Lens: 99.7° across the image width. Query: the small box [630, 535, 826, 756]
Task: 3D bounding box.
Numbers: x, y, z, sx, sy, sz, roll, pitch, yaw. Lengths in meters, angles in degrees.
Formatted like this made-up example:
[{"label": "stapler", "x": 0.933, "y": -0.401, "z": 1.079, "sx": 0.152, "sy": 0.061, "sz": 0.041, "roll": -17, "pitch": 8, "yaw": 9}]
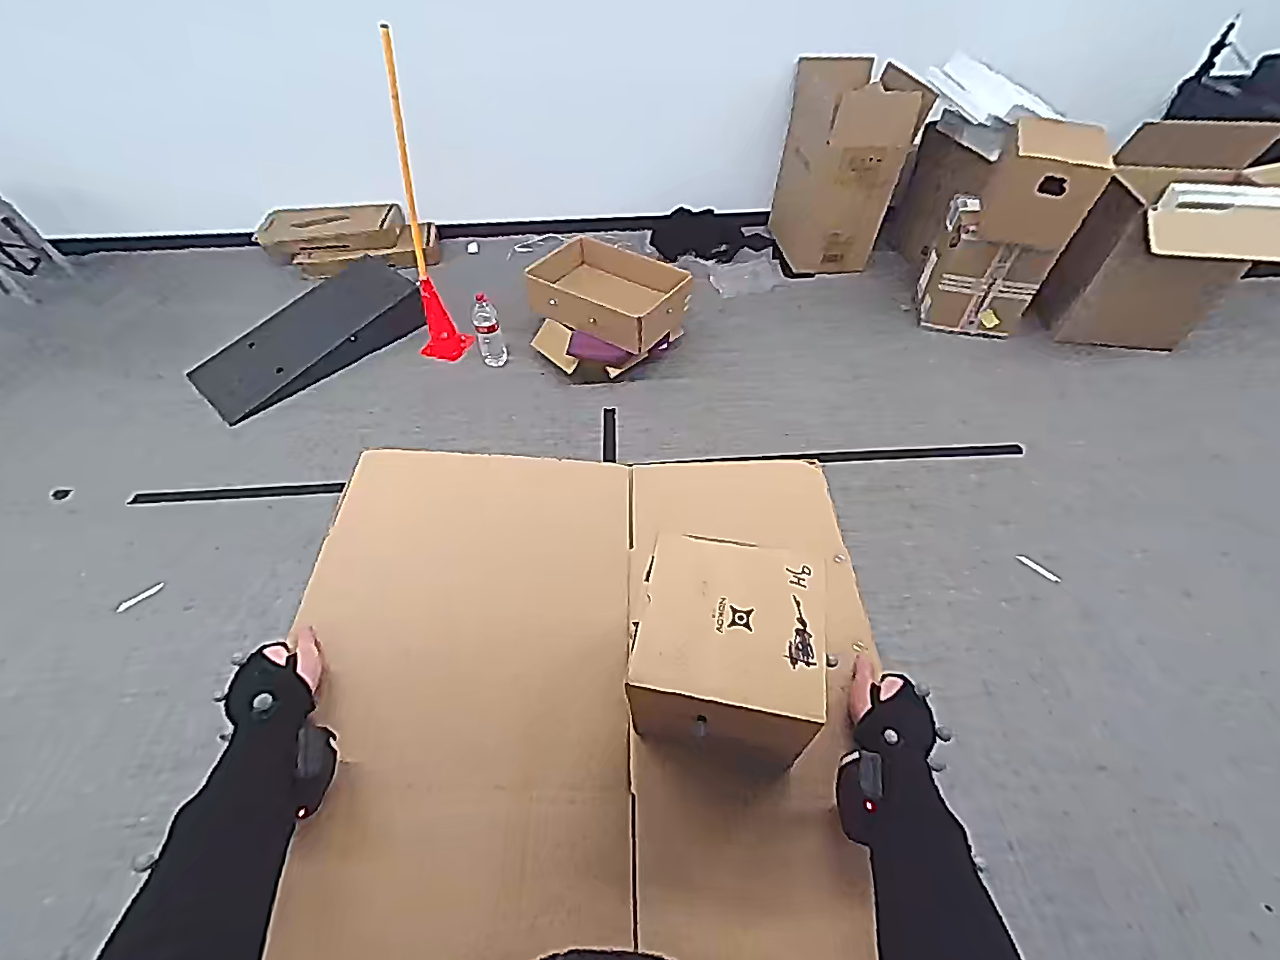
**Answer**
[{"label": "small box", "x": 0.097, "y": 0.181, "z": 0.585, "sx": 0.179, "sy": 0.176, "sz": 0.168, "roll": 7, "pitch": 52, "yaw": 10}]
